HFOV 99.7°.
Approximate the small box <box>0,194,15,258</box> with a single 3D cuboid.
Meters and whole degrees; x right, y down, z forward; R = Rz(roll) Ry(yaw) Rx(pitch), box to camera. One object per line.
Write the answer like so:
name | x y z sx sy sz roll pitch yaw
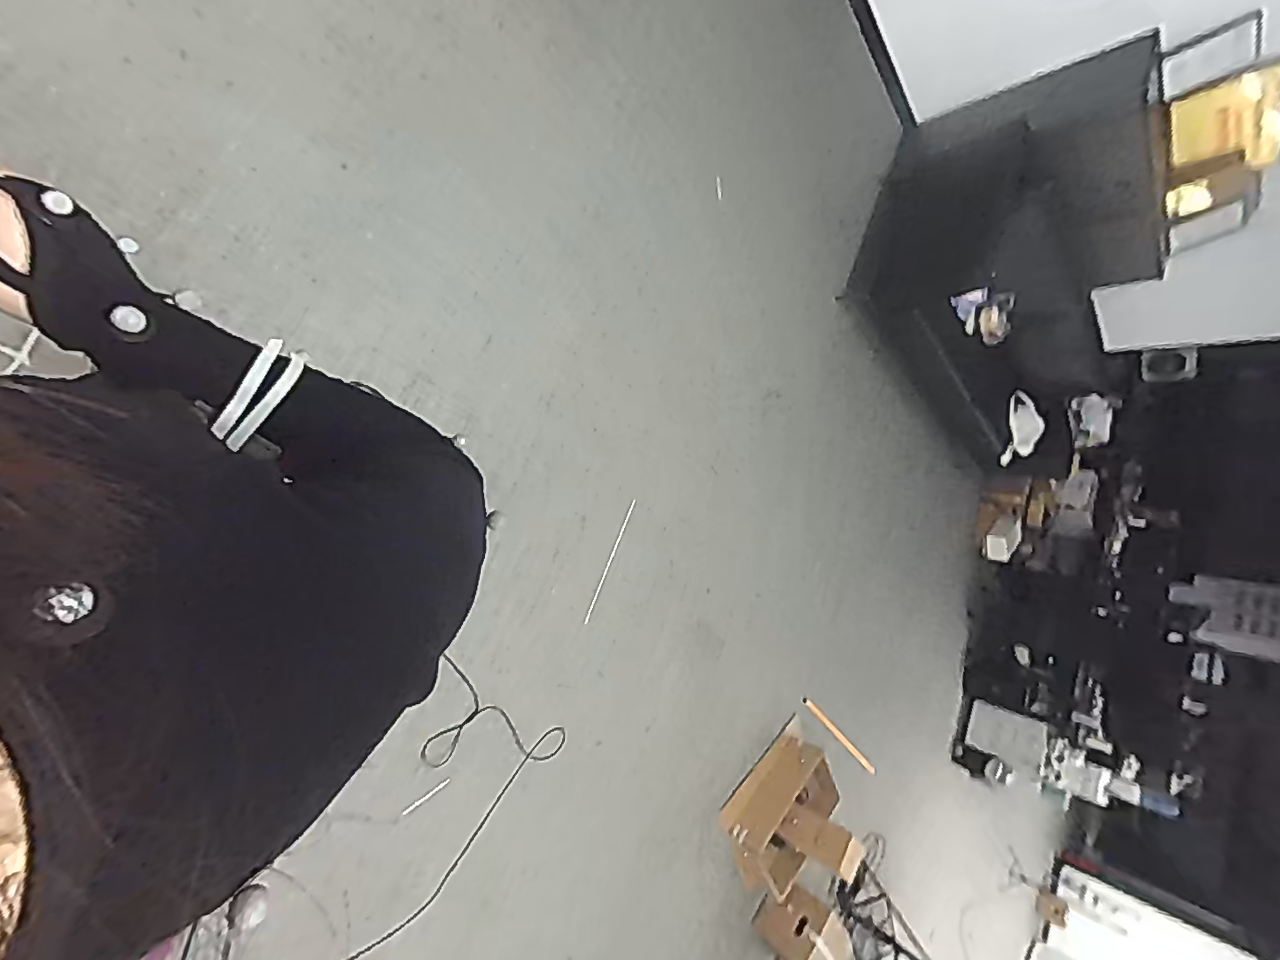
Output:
small box | -0.513 -0.224 0.304 0.168 0.176 0.179 -19 112 -38
